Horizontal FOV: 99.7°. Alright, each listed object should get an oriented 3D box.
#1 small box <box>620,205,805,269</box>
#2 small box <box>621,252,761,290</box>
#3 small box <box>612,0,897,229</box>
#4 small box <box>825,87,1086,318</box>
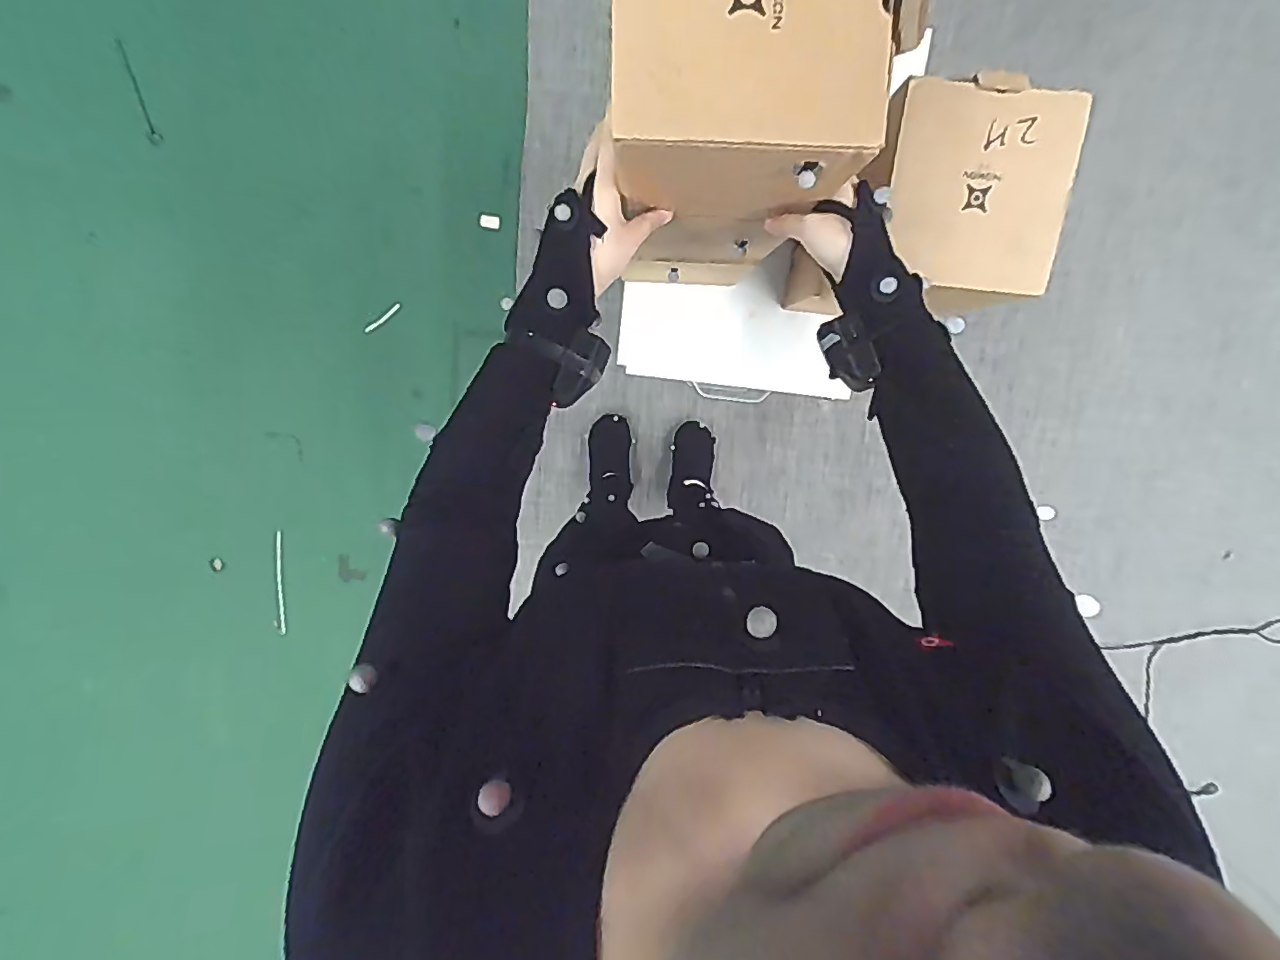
[{"bbox_3d":[0.068,-0.328,0.573,0.179,0.176,0.168,0,100,-1],"label":"small box"},{"bbox_3d":[0.065,-0.357,0.733,0.179,0.176,0.168,2,101,-2],"label":"small box"},{"bbox_3d":[0.070,-0.301,0.411,0.179,0.176,0.168,1,100,-2],"label":"small box"},{"bbox_3d":[0.312,-0.276,0.580,0.168,0.176,0.179,6,101,-1],"label":"small box"}]
